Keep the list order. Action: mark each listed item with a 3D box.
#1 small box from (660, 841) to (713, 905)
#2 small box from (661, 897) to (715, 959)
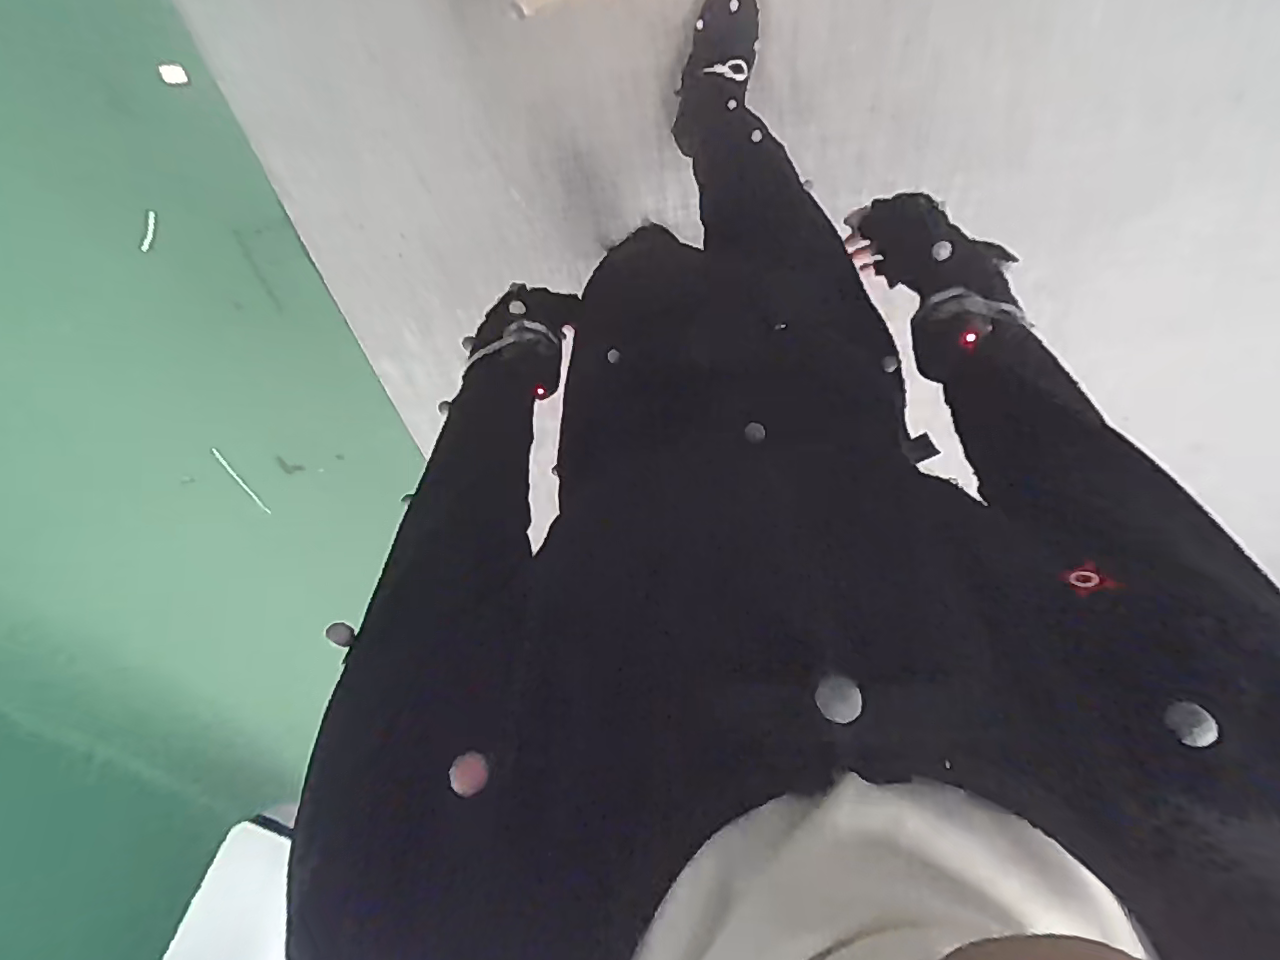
[{"bbox_3d":[0.173,1.457,2.006,0.179,0.176,0.168,-5,133,10],"label":"small box"},{"bbox_3d":[0.166,1.575,1.892,0.168,0.176,0.179,-7,132,10],"label":"small box"}]
